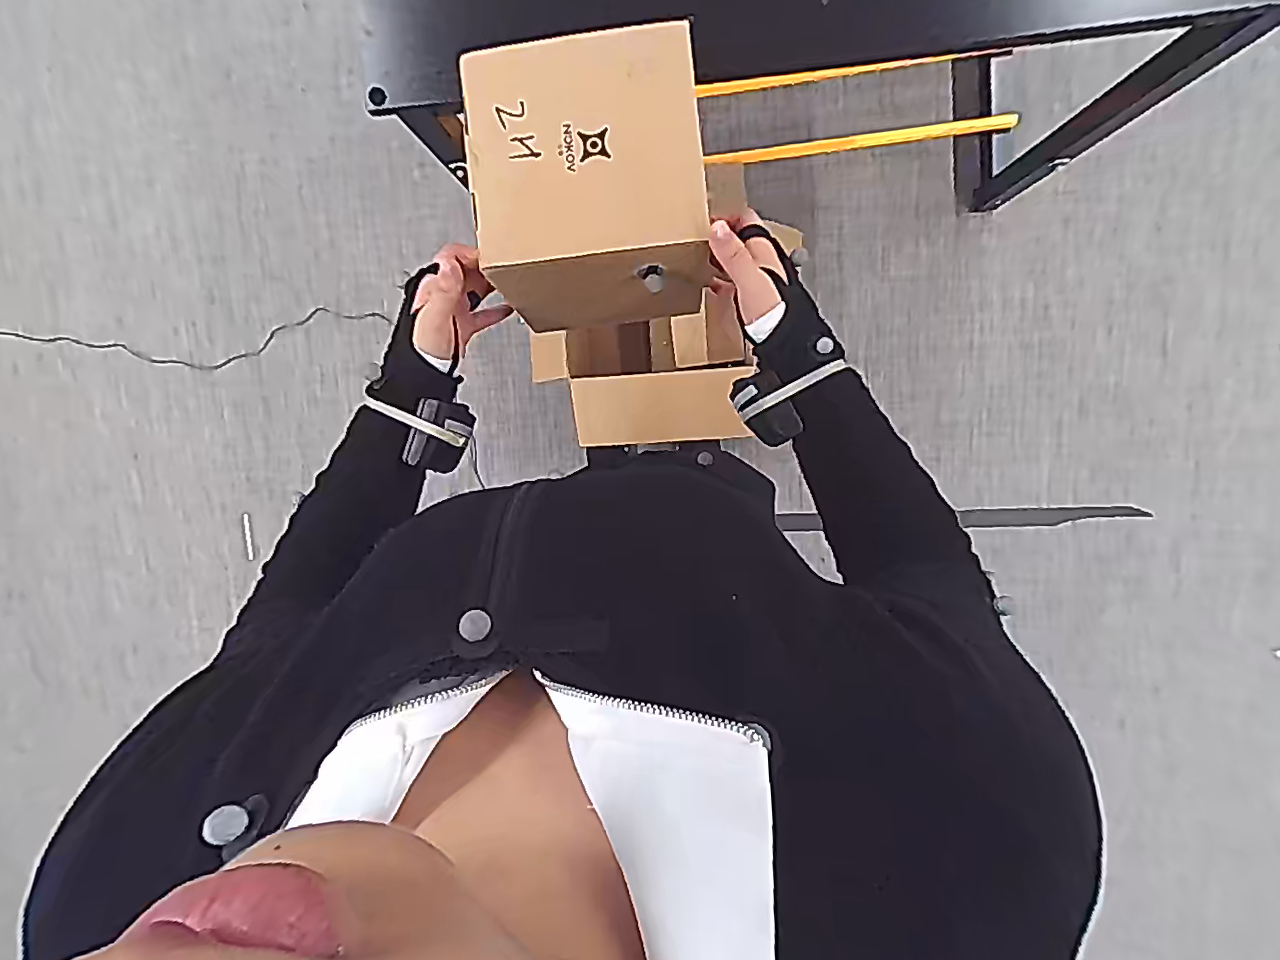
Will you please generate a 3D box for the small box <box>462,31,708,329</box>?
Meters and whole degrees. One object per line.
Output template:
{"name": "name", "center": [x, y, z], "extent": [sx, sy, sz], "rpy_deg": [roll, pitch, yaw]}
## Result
{"name": "small box", "center": [-0.039, -0.244, 0.483], "extent": [0.179, 0.176, 0.168], "rpy_deg": [-5, 88, 3]}
